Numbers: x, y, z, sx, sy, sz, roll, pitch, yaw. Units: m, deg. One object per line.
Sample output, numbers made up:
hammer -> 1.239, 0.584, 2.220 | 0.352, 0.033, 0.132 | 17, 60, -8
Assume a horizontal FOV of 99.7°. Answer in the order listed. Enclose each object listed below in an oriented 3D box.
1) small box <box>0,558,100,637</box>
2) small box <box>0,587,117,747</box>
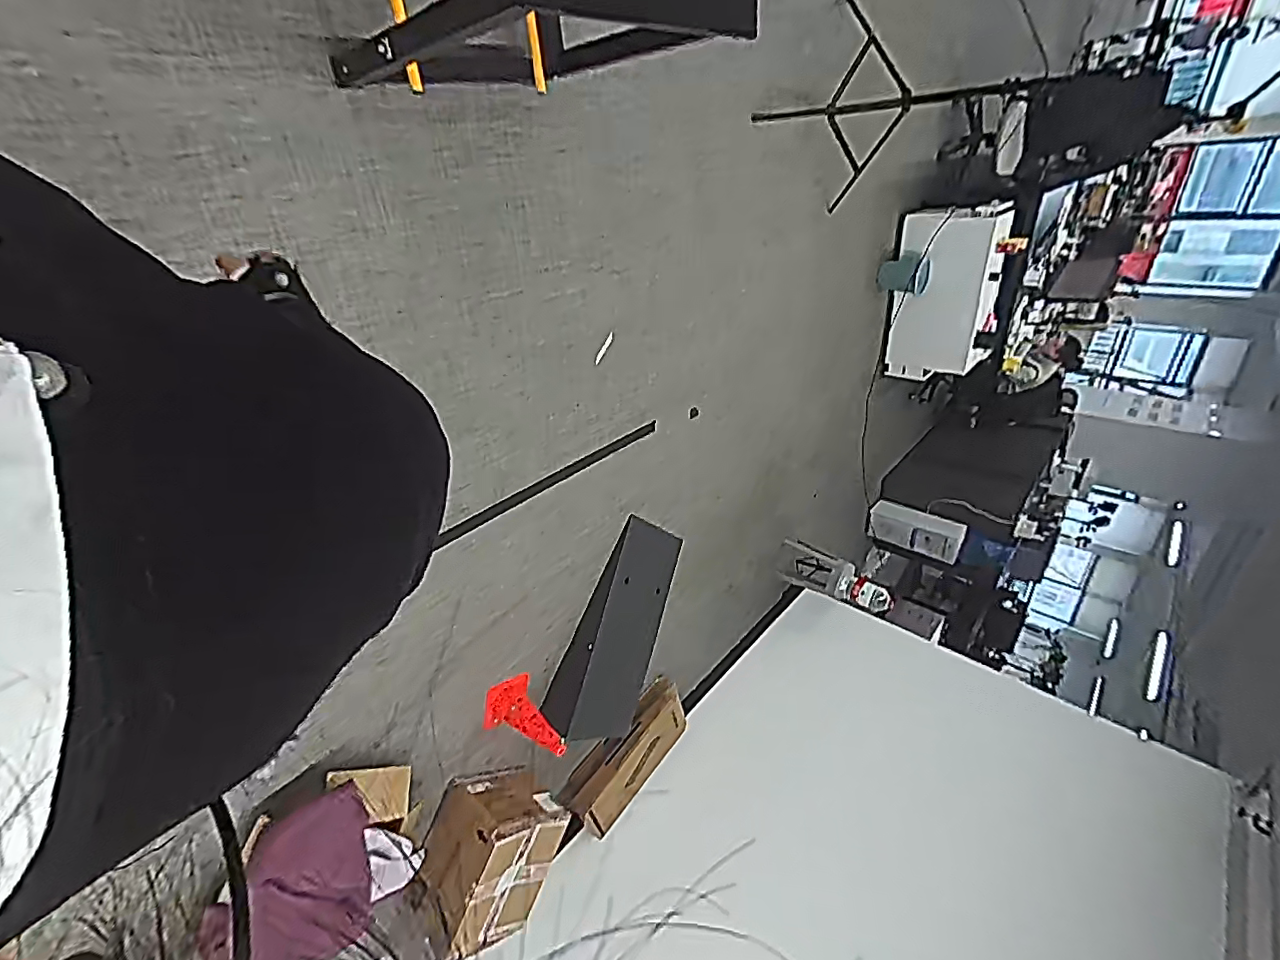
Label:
small box -> -1.192, 0.270, 1.037 | 0.168, 0.176, 0.179 | -29, 126, -38
small box -> -1.069, 0.316, 0.936 | 0.179, 0.176, 0.168 | -30, 128, -36
